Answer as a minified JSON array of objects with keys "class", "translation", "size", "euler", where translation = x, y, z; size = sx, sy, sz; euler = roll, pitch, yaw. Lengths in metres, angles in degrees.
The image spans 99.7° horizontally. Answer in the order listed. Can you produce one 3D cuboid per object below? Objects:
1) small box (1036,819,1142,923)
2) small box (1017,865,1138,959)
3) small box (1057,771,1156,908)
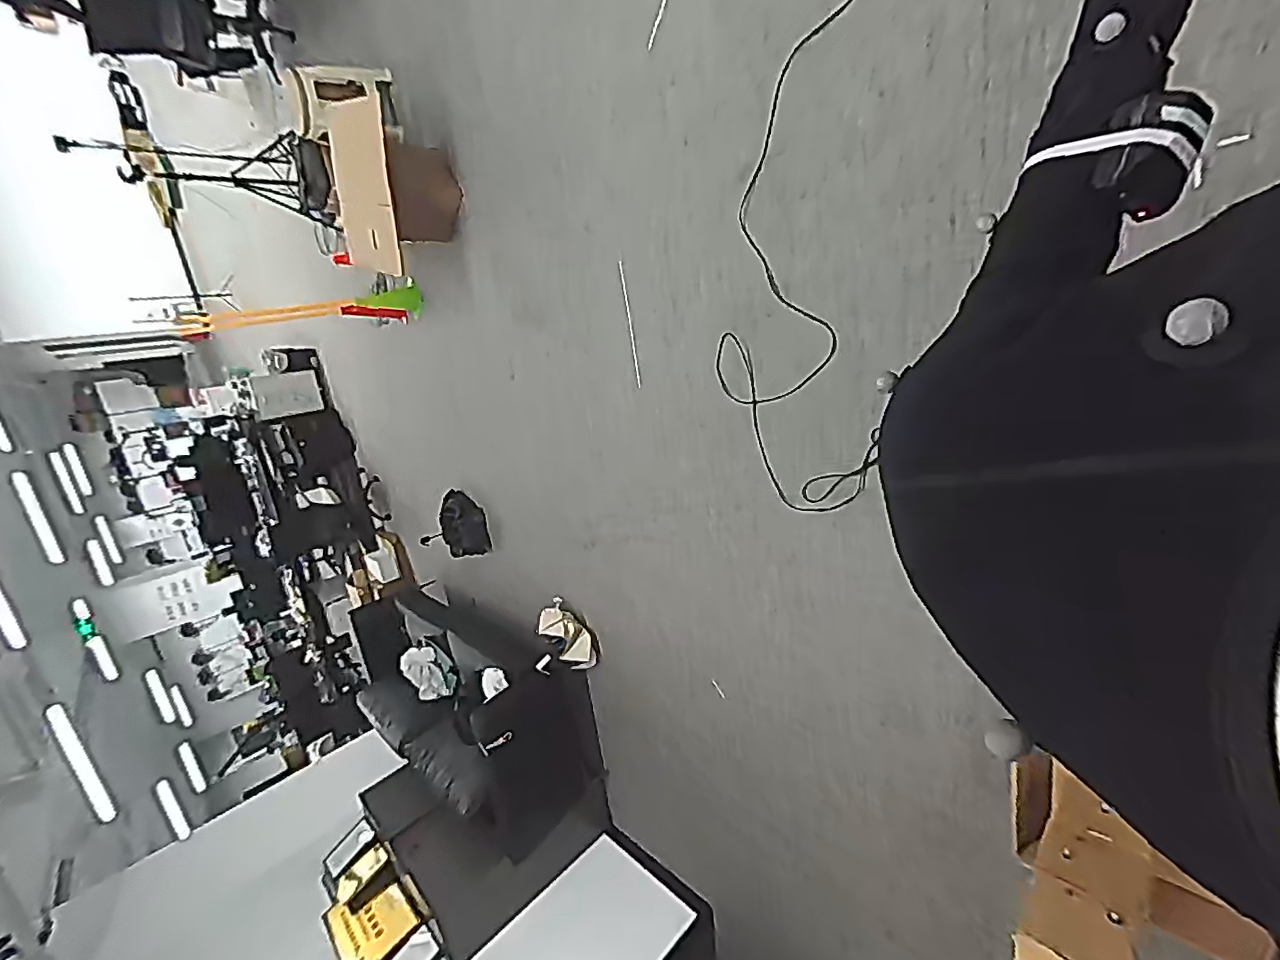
[{"class":"small box","translation":[0.964,0.887,1.167],"size":[0.168,0.176,0.179],"euler":[5,111,45]},{"class":"small box","translation":[0.861,0.923,1.067],"size":[0.168,0.176,0.179],"euler":[7,112,46]},{"class":"small box","translation":[1.100,0.833,1.276],"size":[0.168,0.176,0.179],"euler":[-1,107,46]}]
